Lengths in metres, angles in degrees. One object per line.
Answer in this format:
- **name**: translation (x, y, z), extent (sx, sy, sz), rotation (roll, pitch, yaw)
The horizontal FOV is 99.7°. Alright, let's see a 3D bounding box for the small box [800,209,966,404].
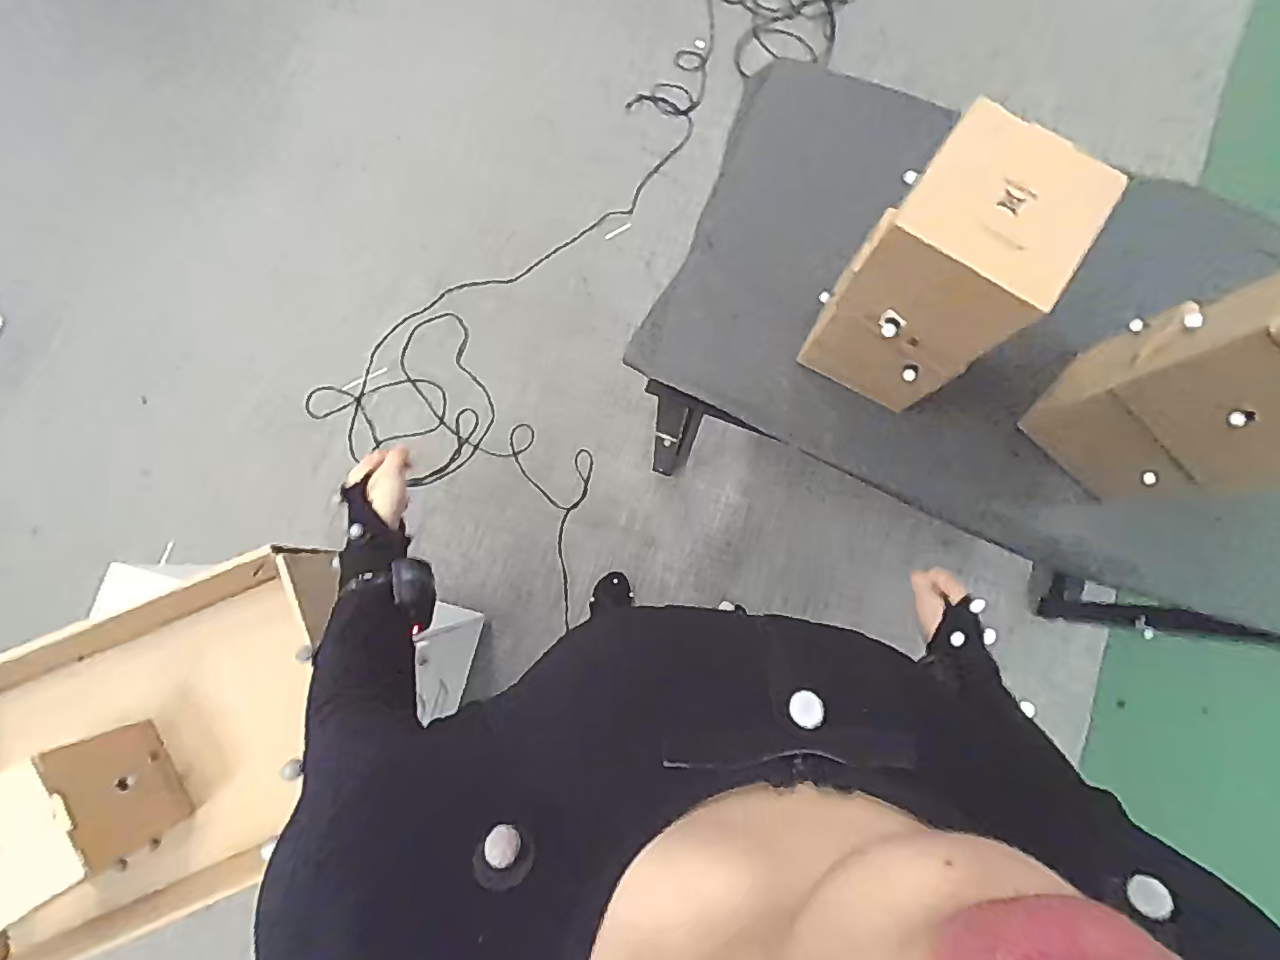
- **small box**: translation (0.354, -0.225, 0.753), extent (0.179, 0.176, 0.168), rotation (29, 80, 5)

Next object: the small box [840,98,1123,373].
- **small box**: translation (0.350, -0.251, 0.593), extent (0.168, 0.176, 0.179), rotation (34, 83, 7)

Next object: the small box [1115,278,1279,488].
- **small box**: translation (0.675, -0.106, 0.563), extent (0.168, 0.176, 0.179), rotation (-37, 81, -7)
